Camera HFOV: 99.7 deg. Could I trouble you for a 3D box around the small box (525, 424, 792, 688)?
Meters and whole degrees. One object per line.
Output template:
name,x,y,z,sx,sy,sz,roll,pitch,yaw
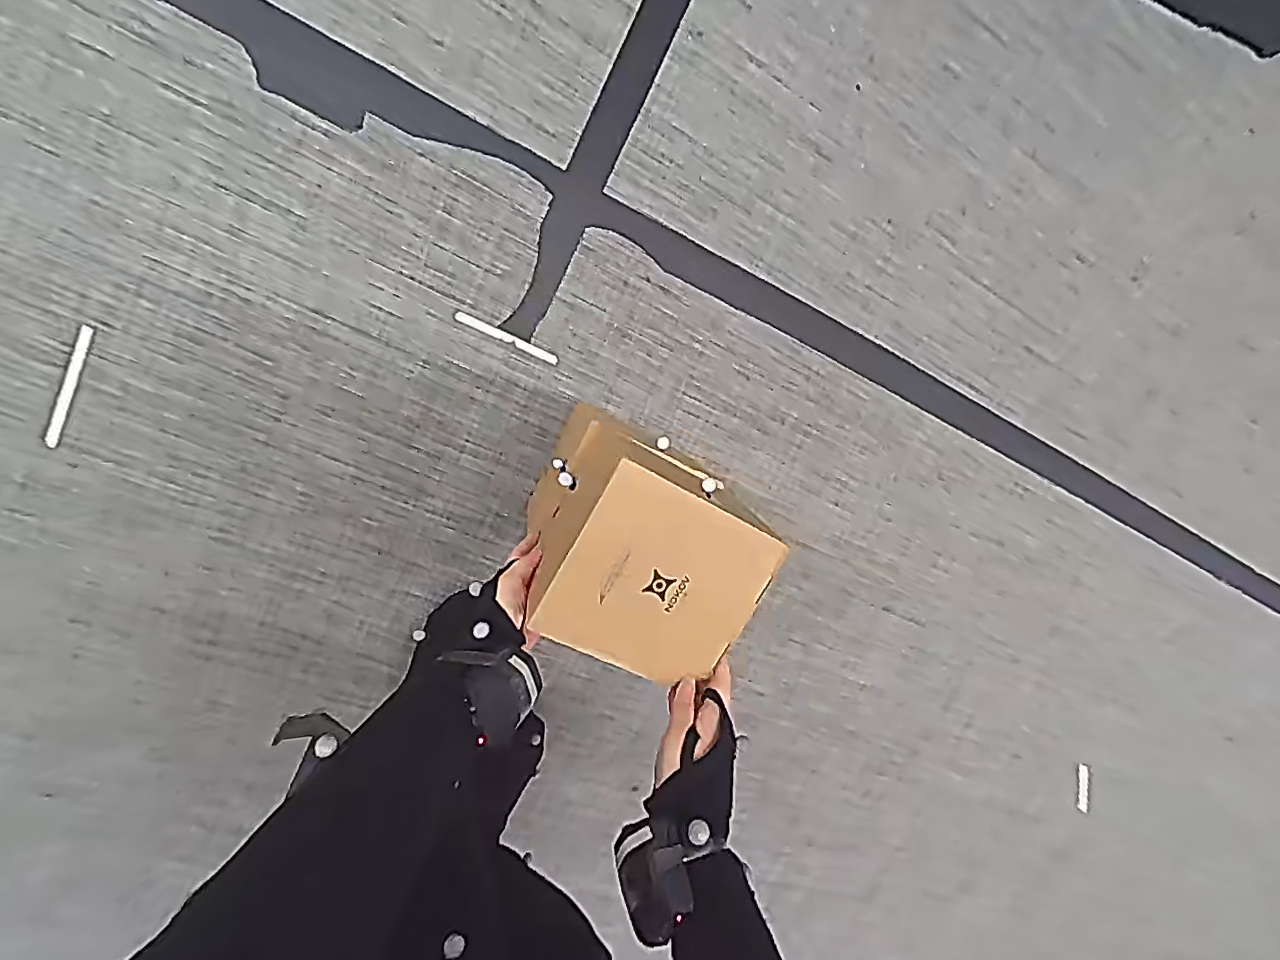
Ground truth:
small box,0.006,0.061,0.527,0.179,0.176,0.168,29,99,-17

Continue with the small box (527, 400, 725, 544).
small box,-0.028,0.012,0.680,0.179,0.176,0.168,26,99,-17
